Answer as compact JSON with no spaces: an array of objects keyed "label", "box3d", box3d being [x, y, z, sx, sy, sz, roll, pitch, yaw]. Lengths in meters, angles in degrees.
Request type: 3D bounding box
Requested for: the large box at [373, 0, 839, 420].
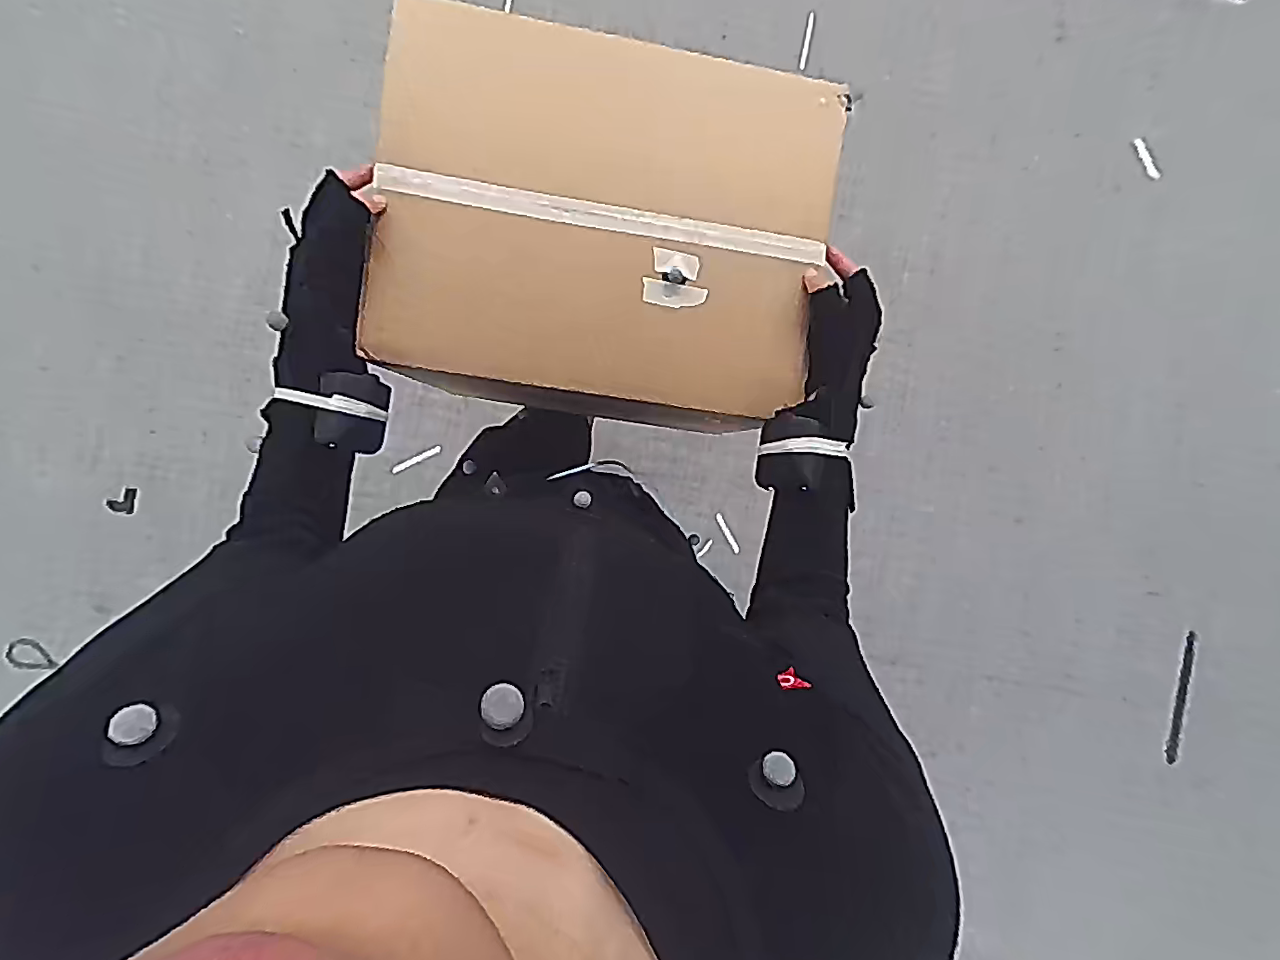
[{"label":"large box","box3d":[-0.042,-0.253,0.641,0.408,0.320,0.320,8,94,-6]}]
